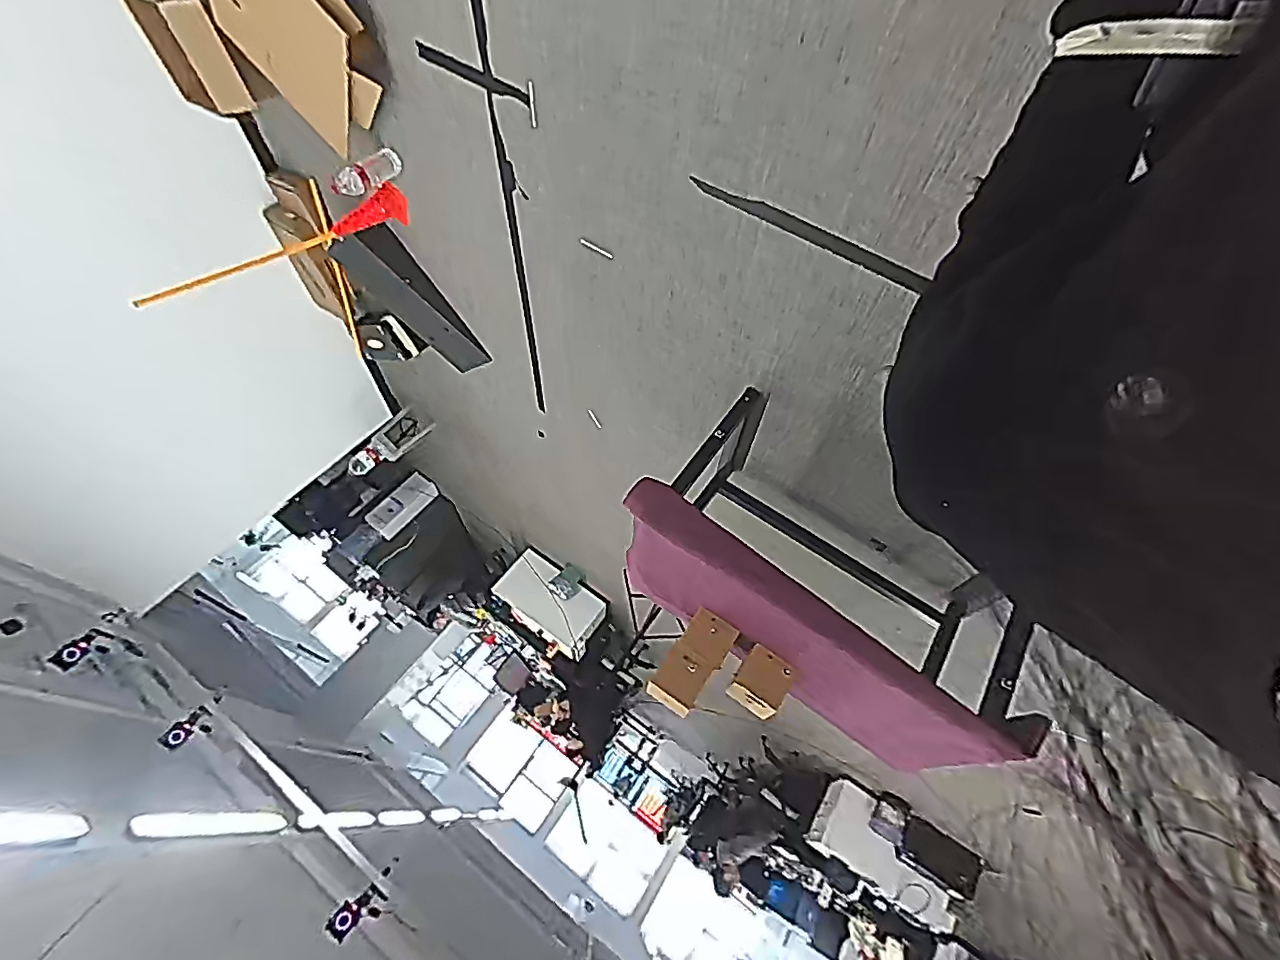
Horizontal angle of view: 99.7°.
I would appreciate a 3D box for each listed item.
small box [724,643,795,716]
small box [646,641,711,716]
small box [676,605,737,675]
[{"bbox_3d":[0.425,0.703,1.913,0.168,0.176,0.179,33,152,15],"label":"small box"},{"bbox_3d":[0.137,0.702,1.918,0.168,0.176,0.179,31,150,16],"label":"small box"},{"bbox_3d":[0.235,0.593,1.987,0.168,0.176,0.179,32,151,14],"label":"small box"}]
